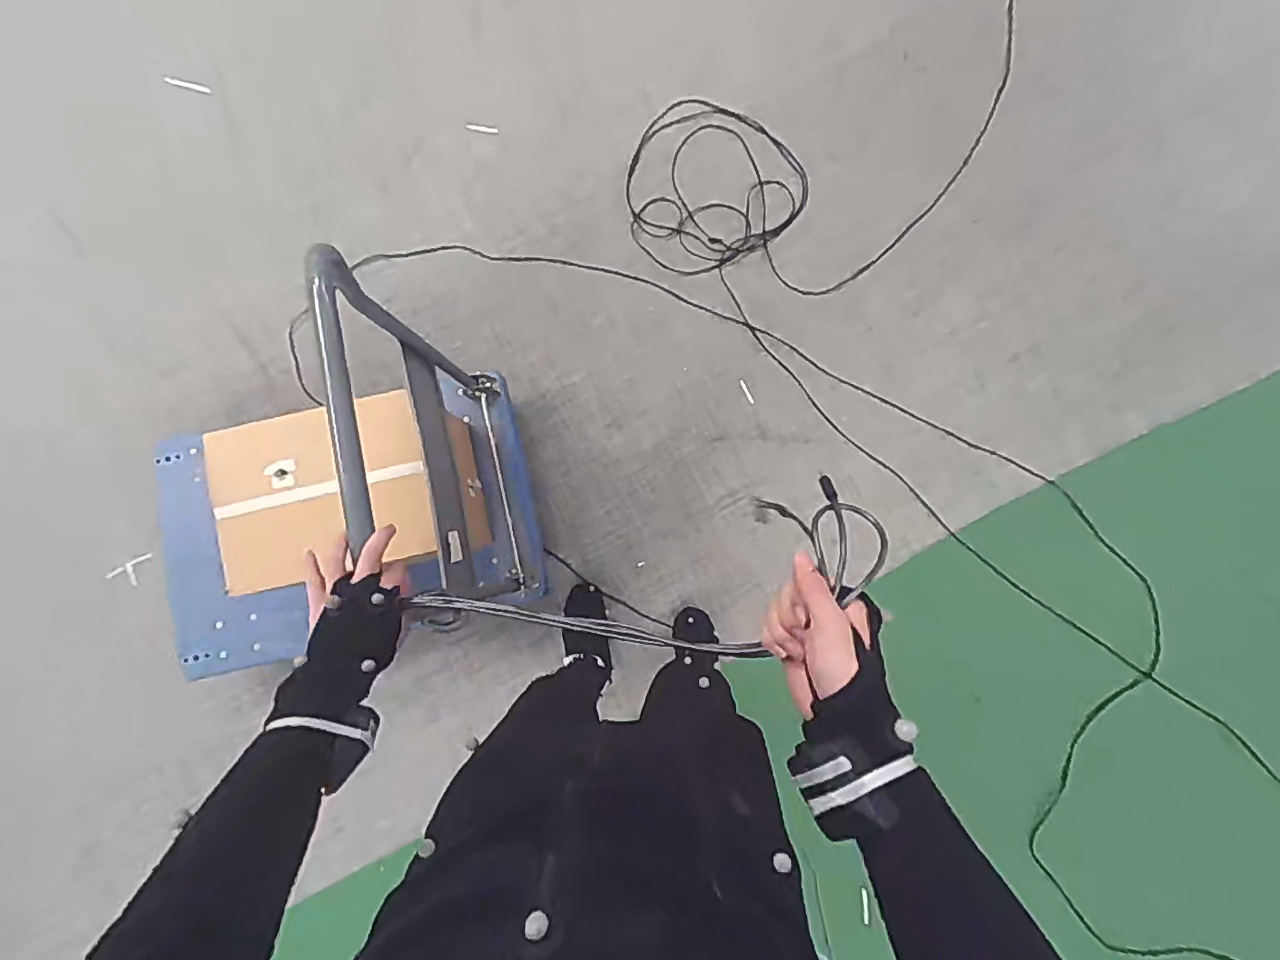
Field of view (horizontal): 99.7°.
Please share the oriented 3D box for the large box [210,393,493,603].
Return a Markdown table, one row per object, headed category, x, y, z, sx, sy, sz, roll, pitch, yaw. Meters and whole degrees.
| category | x | y | z | sx | sy | sz | roll | pitch | yaw |
| --- | --- | --- | --- | --- | --- | --- | --- | --- | --- |
| large box | -0.574 | 0.043 | 1.143 | 0.408 | 0.320 | 0.320 | -13 | 84 | 0 |
